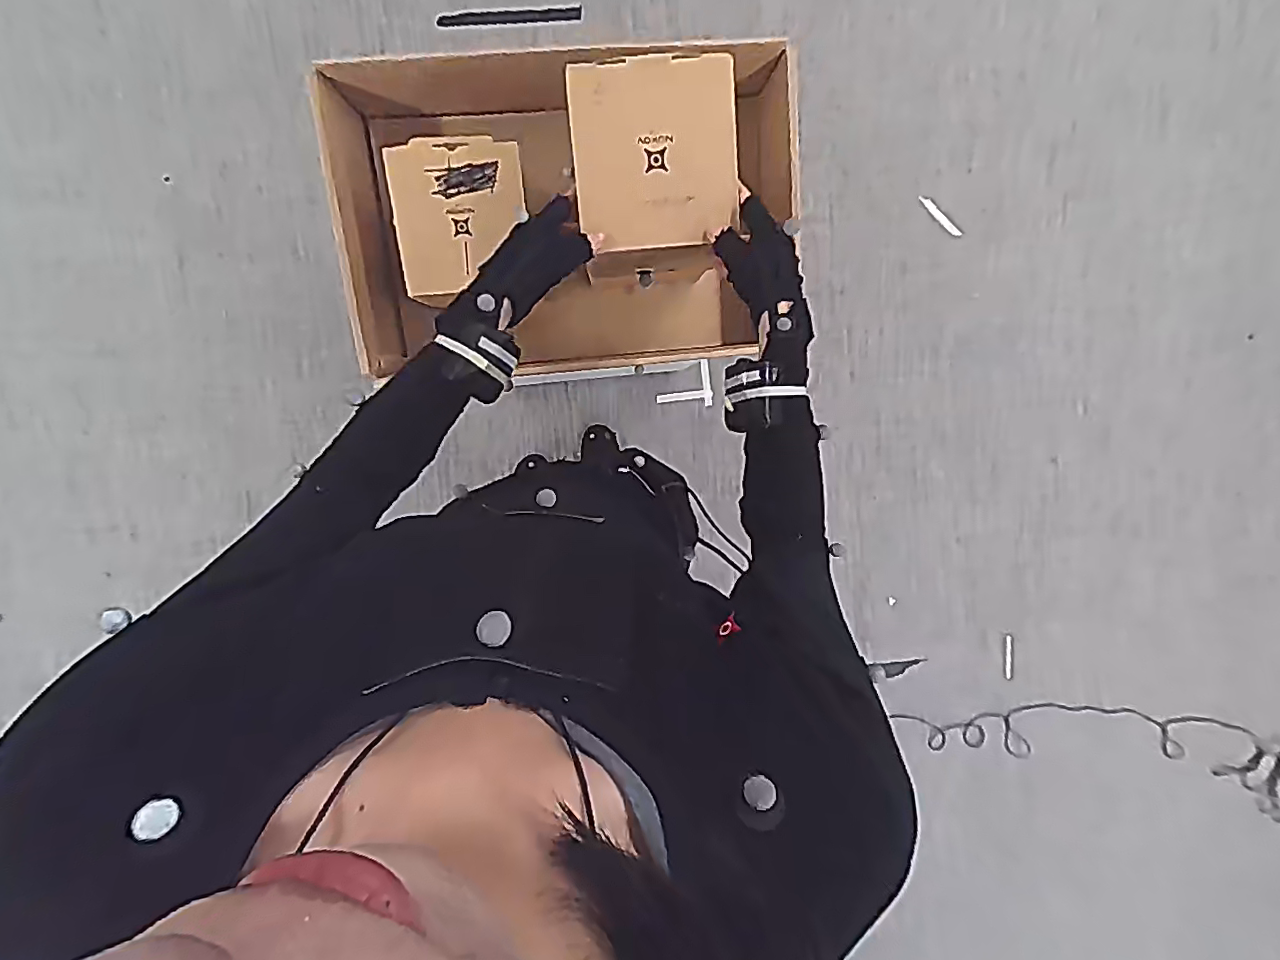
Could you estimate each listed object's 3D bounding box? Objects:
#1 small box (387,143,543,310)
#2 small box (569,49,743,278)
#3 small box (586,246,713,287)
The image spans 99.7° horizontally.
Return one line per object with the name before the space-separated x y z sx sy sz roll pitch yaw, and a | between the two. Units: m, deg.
small box | -0.231 -0.342 0.758 0.168 0.176 0.179 -6 103 -5
small box | 0.015 -0.341 0.616 0.168 0.176 0.179 -6 102 -1
small box | 0.007 -0.379 0.774 0.179 0.176 0.168 -6 101 -2
